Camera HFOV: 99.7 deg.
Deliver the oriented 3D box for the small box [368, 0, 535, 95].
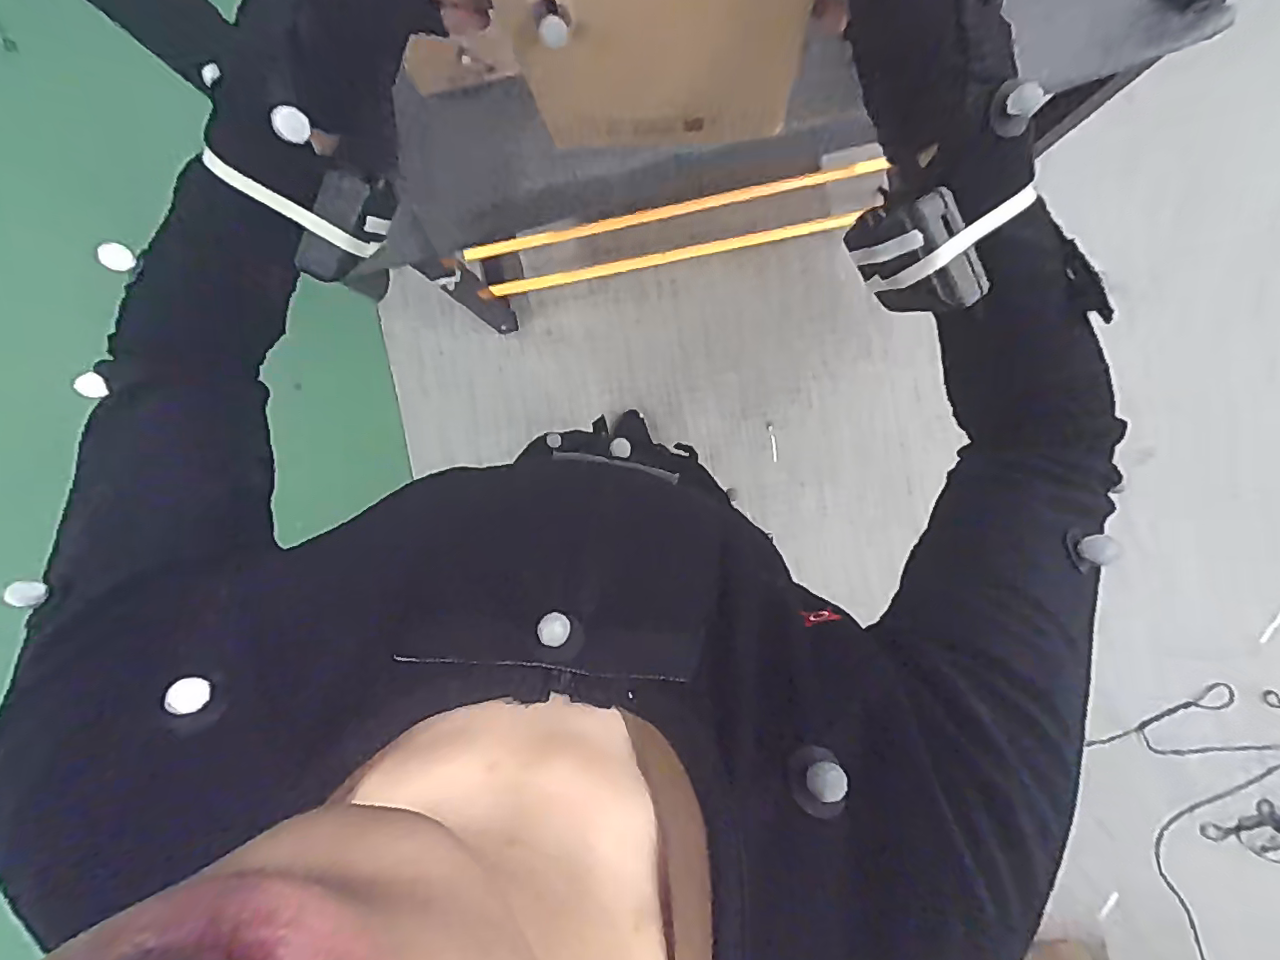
[{"bbox_3d":[-0.237,-0.621,0.655,0.168,0.176,0.179,-11,91,2],"label":"small box"}]
